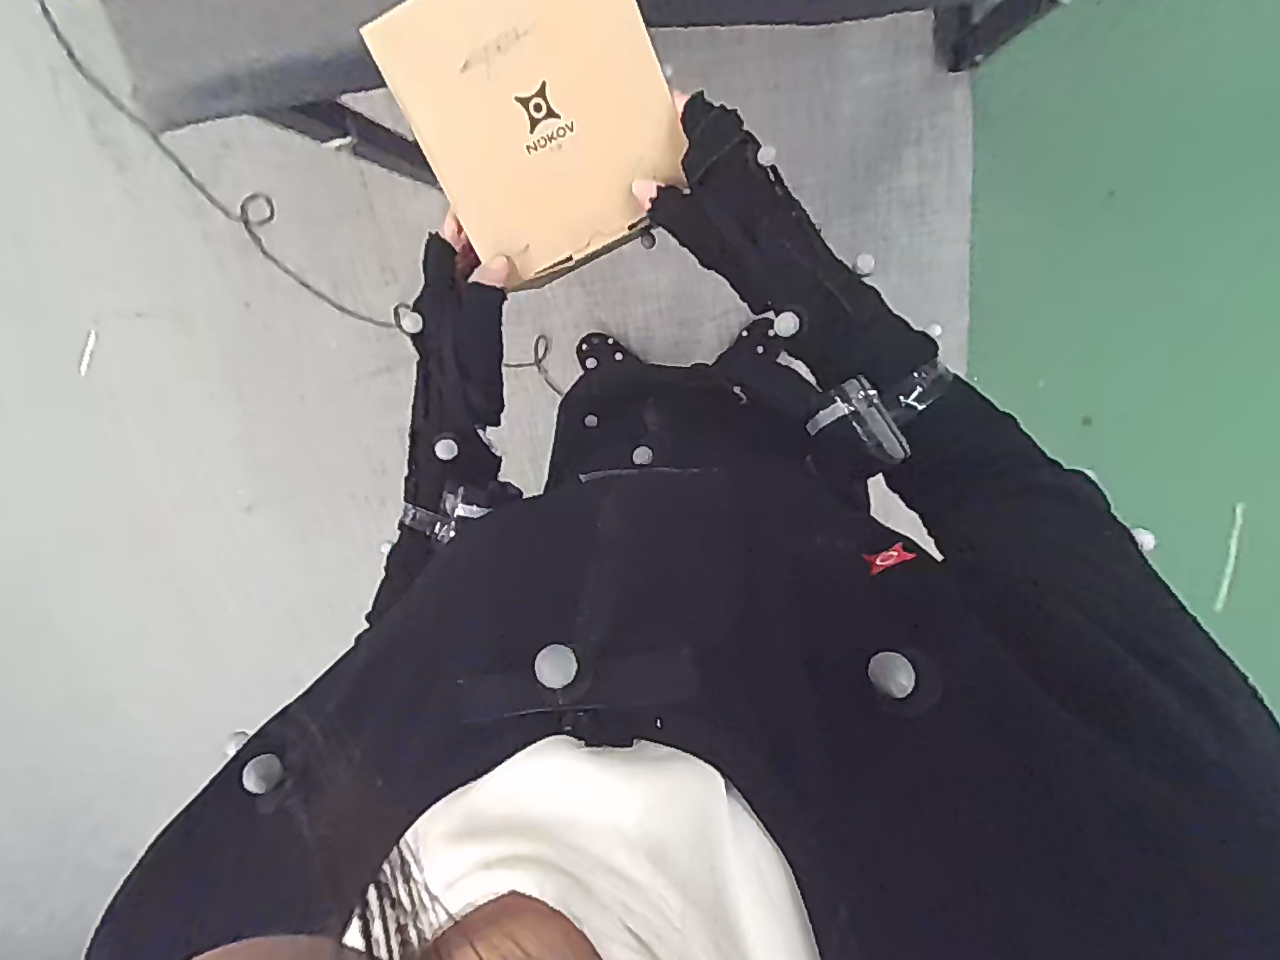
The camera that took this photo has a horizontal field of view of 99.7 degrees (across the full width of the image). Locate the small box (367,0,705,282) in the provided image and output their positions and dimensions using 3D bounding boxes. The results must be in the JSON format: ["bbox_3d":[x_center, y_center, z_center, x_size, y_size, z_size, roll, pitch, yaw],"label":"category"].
[{"bbox_3d":[-0.062,-0.275,0.425,0.168,0.176,0.179,-24,109,7],"label":"small box"}]
